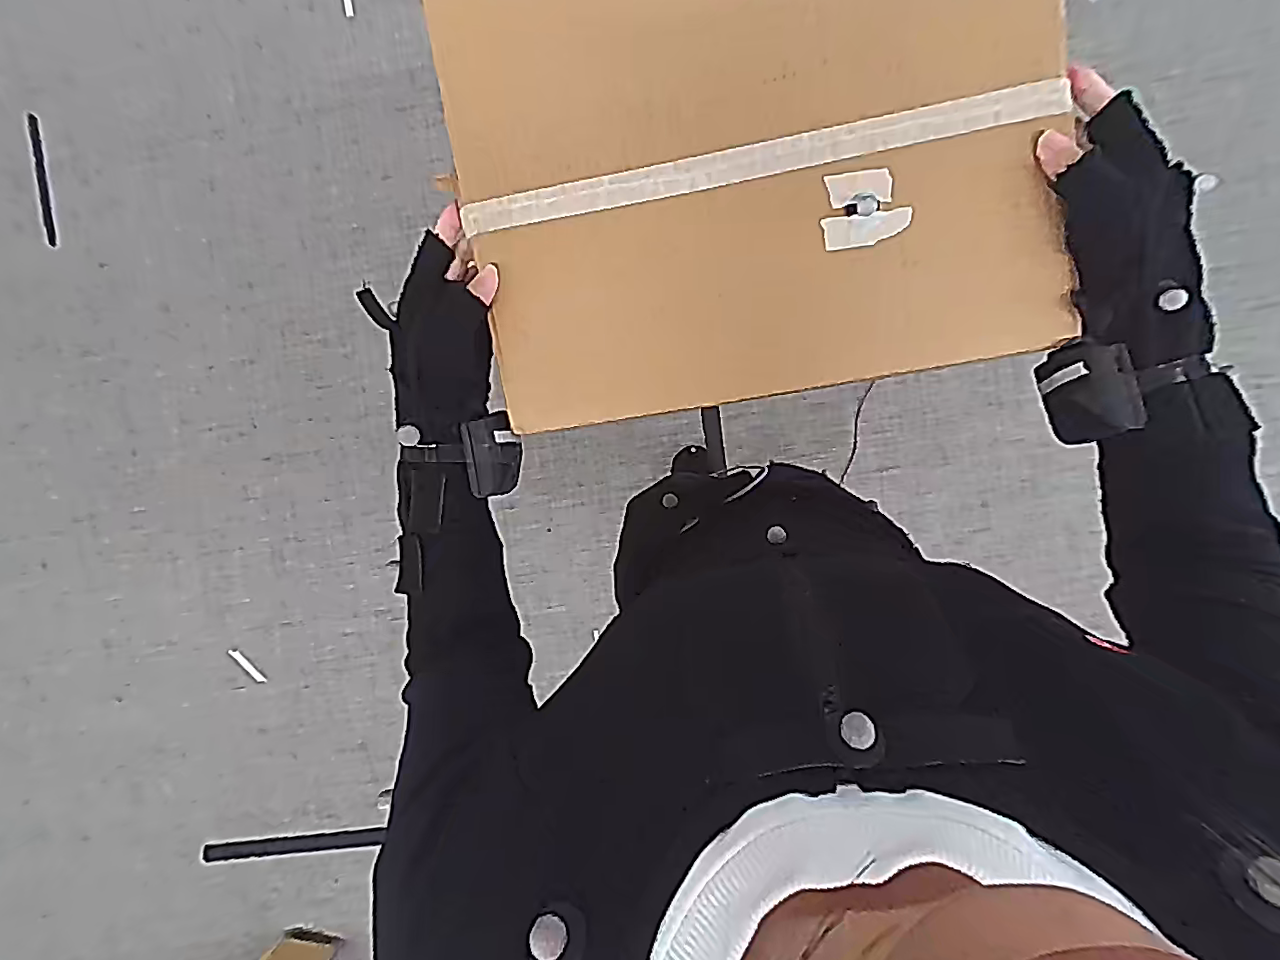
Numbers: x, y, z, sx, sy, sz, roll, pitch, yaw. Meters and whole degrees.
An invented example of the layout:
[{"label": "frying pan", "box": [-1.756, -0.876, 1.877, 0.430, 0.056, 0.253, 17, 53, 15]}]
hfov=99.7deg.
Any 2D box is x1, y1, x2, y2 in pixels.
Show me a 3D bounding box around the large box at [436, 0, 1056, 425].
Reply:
[{"label": "large box", "box": [0.083, -0.246, 0.527, 0.408, 0.320, 0.320, -9, 99, 4]}]
